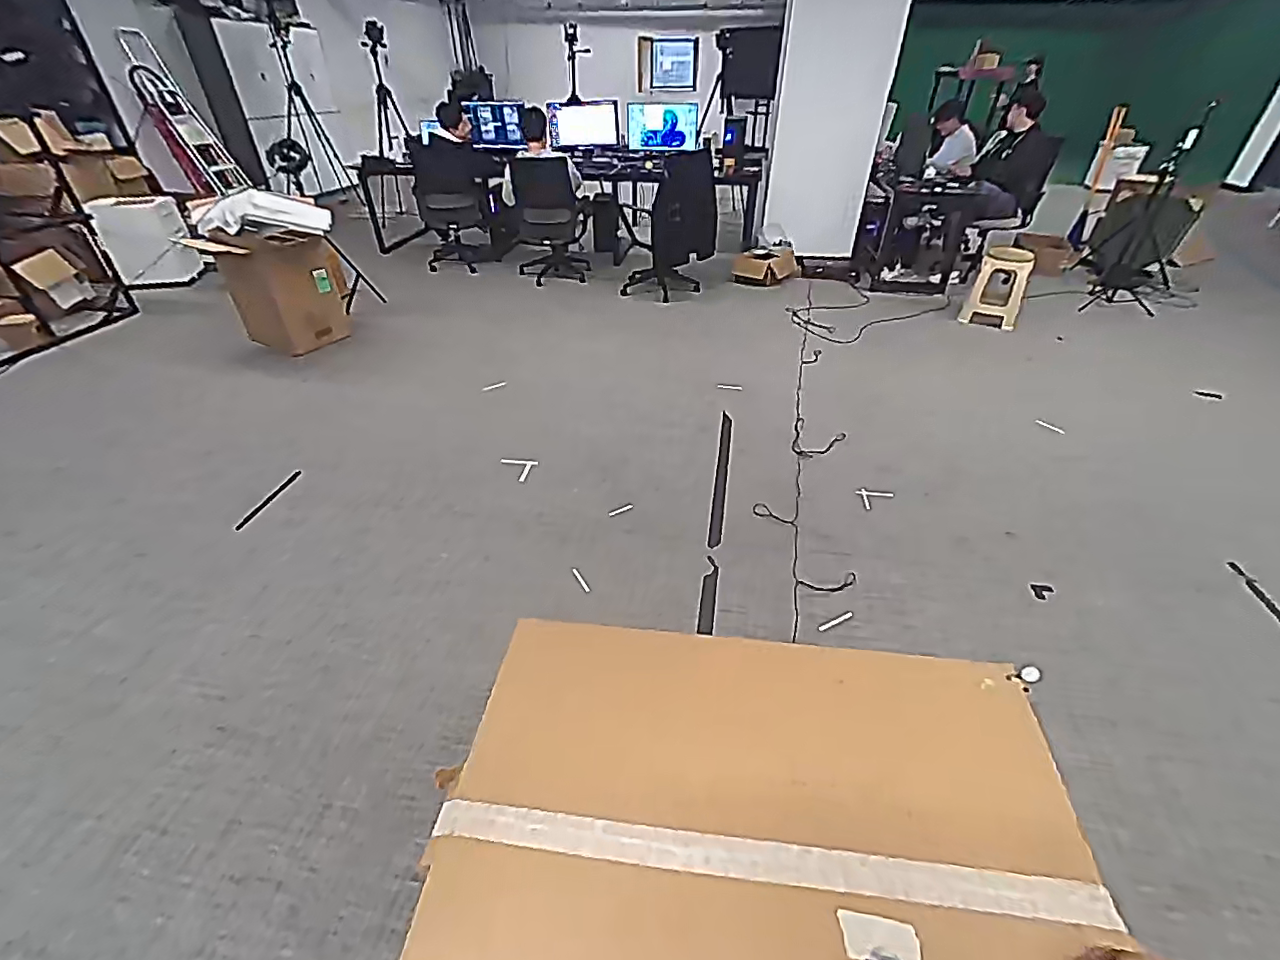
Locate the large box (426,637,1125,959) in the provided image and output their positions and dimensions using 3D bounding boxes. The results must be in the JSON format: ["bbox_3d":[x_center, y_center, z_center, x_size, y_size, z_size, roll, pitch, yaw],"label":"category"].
[{"bbox_3d":[0.081,0.358,0.439,0.408,0.320,0.320,4,43,6],"label":"large box"}]
